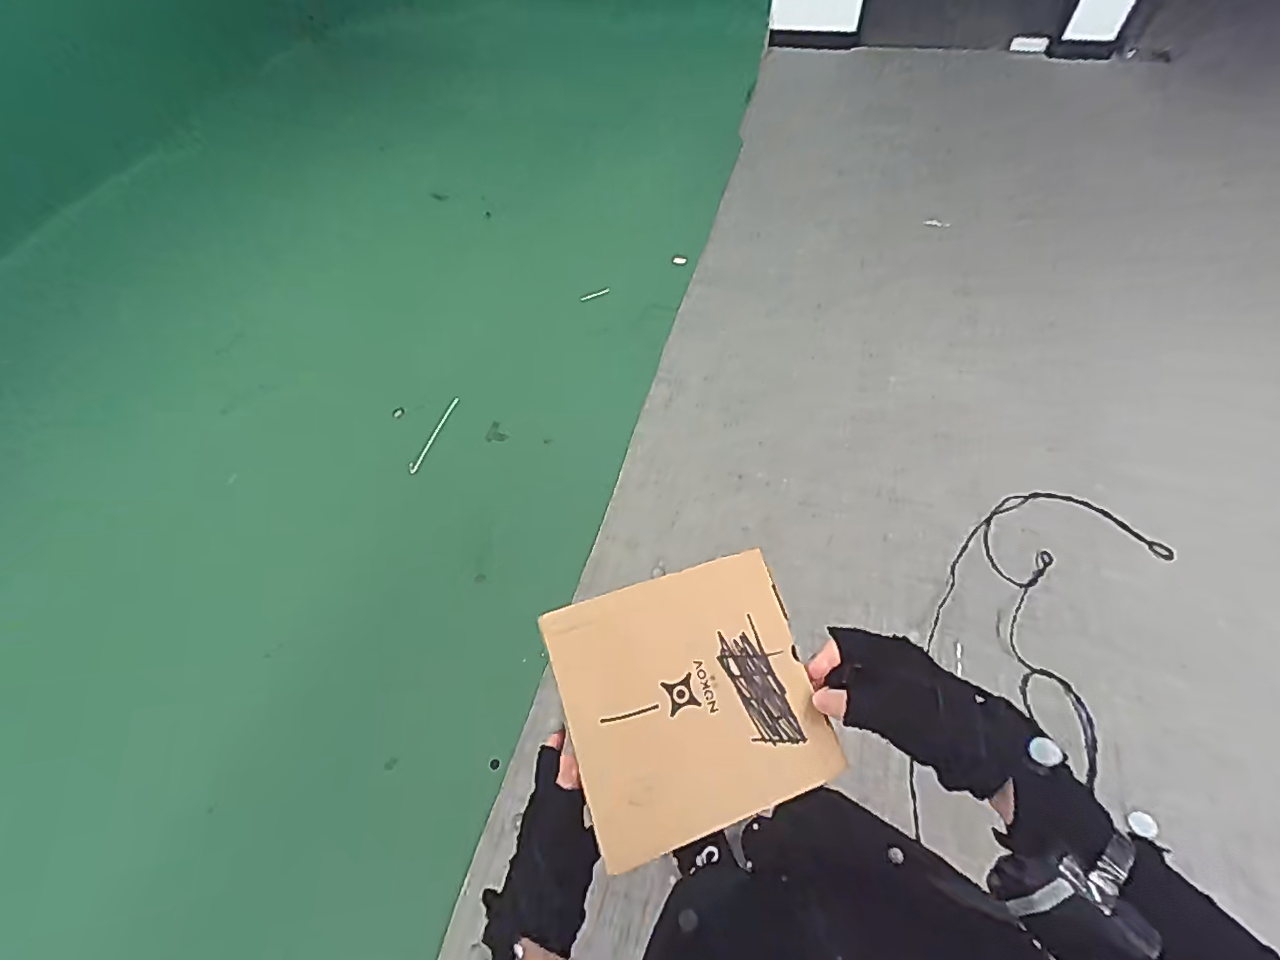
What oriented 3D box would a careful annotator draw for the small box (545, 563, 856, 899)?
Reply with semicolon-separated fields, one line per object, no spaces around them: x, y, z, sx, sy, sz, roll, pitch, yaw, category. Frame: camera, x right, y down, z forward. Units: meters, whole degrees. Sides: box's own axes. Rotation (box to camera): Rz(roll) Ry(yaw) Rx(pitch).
0.028;0.181;0.434;0.179;0.176;0.168;-15;71;-13;small box
